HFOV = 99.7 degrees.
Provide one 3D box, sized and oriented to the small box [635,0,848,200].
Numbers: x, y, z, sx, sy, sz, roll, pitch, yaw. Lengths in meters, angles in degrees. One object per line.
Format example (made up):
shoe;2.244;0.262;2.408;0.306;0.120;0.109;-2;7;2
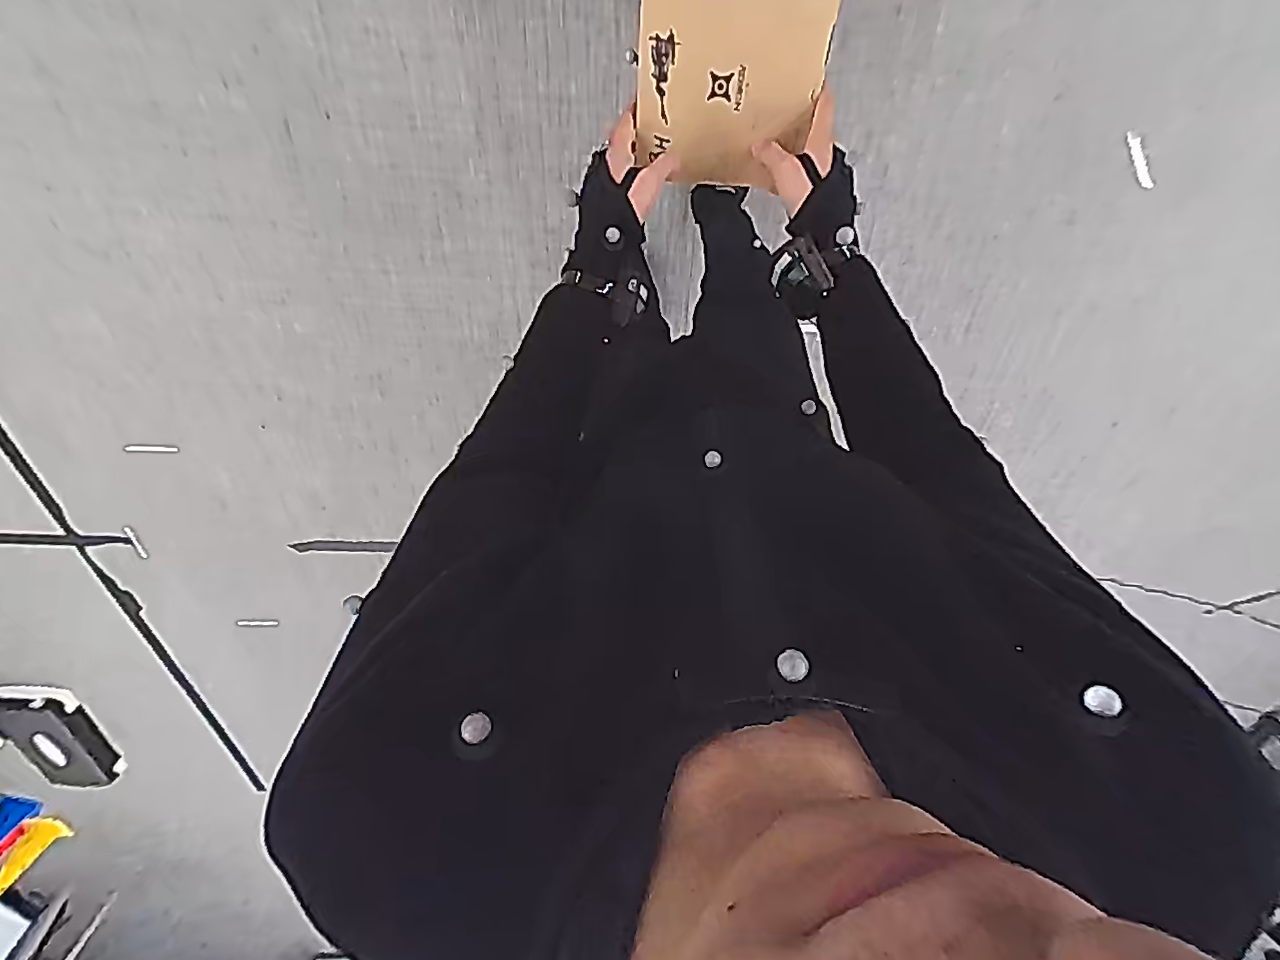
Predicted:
small box;0.087;-0.411;0.568;0.179;0.176;0.168;3;131;-2
